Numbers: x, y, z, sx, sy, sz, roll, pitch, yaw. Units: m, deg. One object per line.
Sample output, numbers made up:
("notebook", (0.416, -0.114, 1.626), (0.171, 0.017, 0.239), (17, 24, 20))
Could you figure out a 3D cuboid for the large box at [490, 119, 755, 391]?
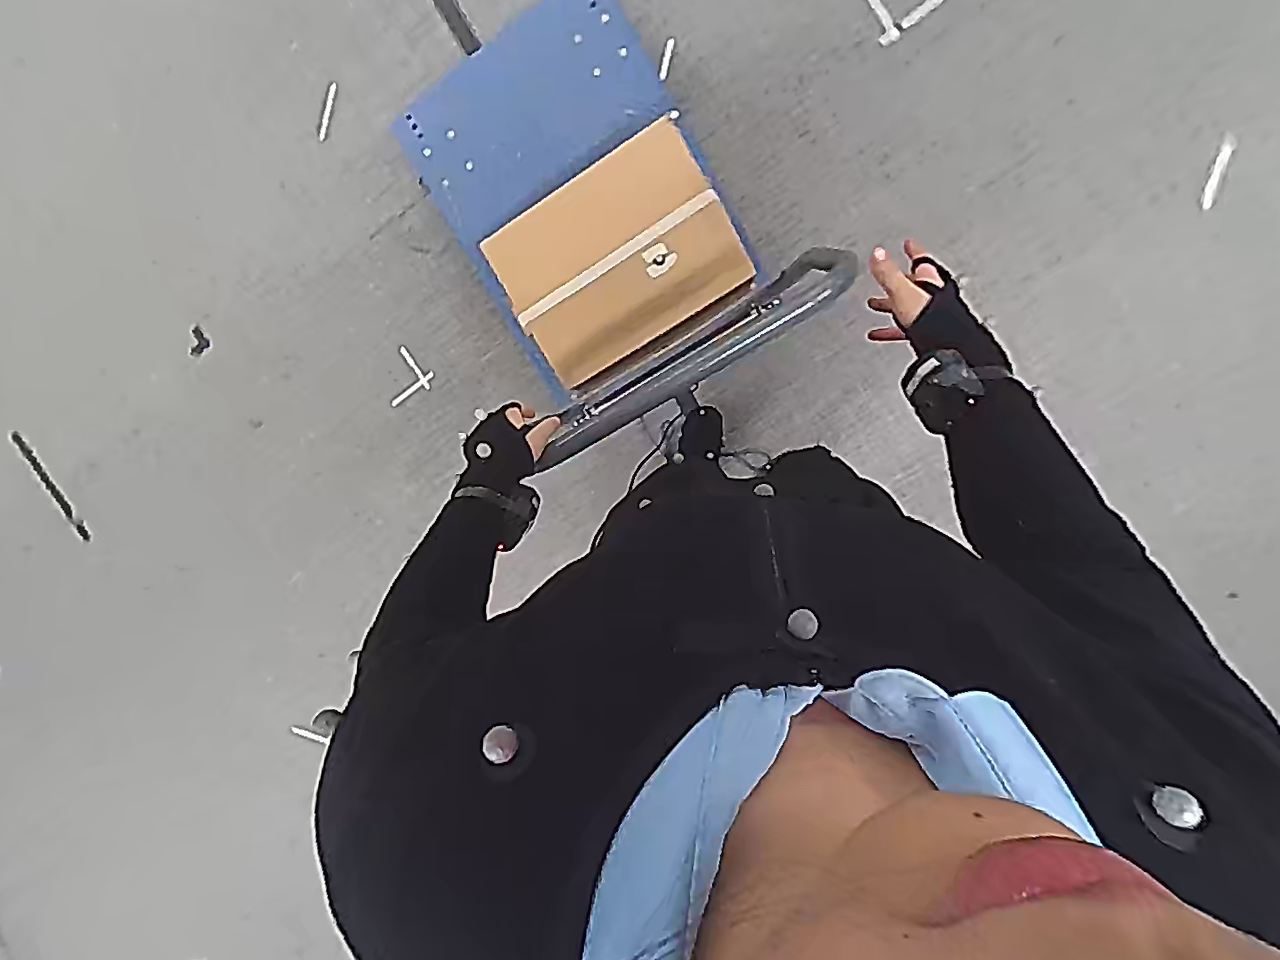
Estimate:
("large box", (-0.023, -0.420, 1.125), (0.408, 0.320, 0.320), (-30, 96, 9))
